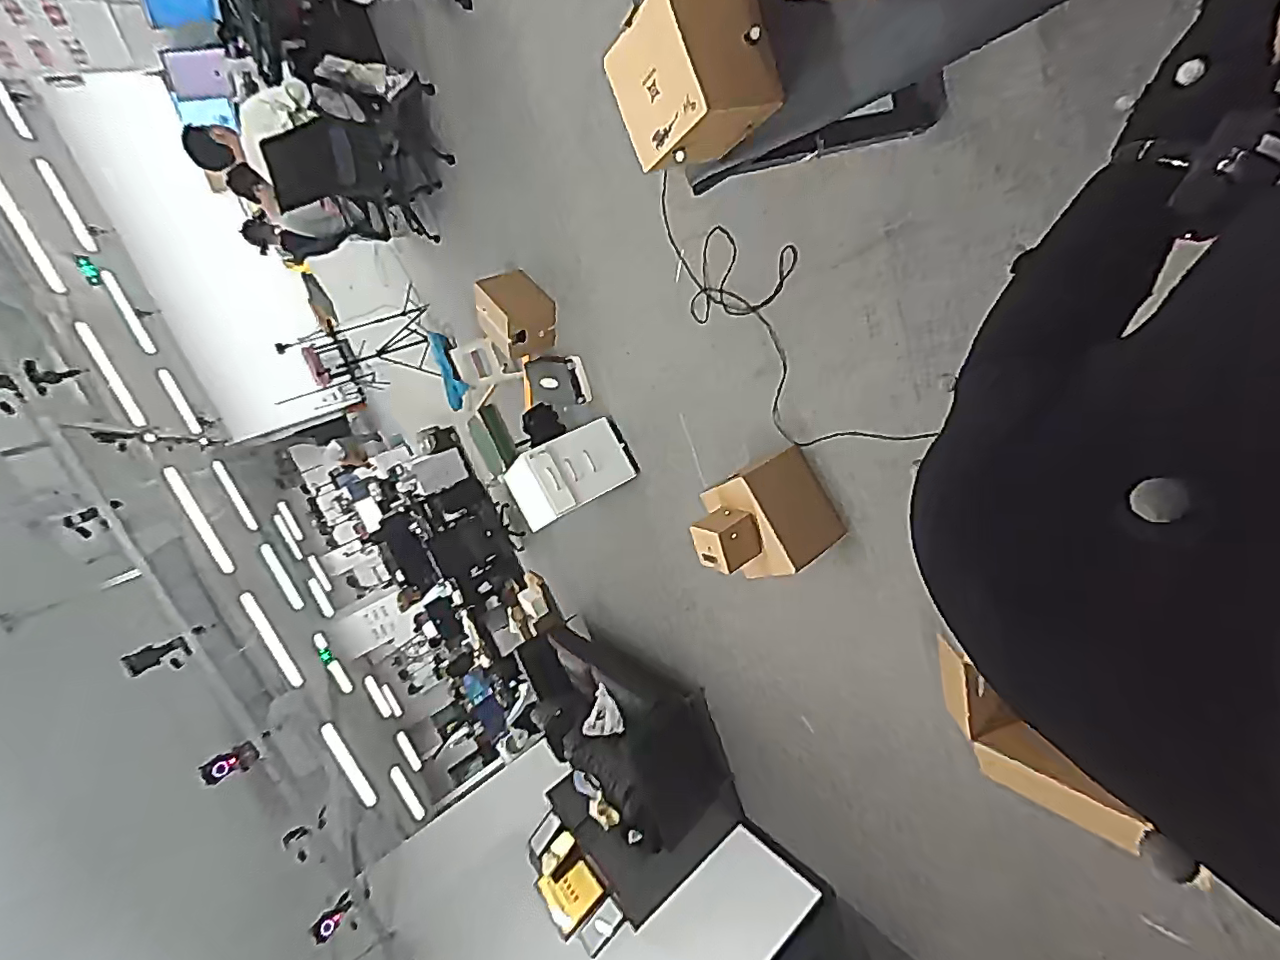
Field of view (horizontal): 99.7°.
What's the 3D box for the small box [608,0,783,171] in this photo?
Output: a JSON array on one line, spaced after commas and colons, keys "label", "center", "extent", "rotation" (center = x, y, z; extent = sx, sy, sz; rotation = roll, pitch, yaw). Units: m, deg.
[{"label": "small box", "center": [0.085, -0.607, 0.822], "extent": [0.168, 0.176, 0.179], "rotation": [-4, 111, 60]}]
